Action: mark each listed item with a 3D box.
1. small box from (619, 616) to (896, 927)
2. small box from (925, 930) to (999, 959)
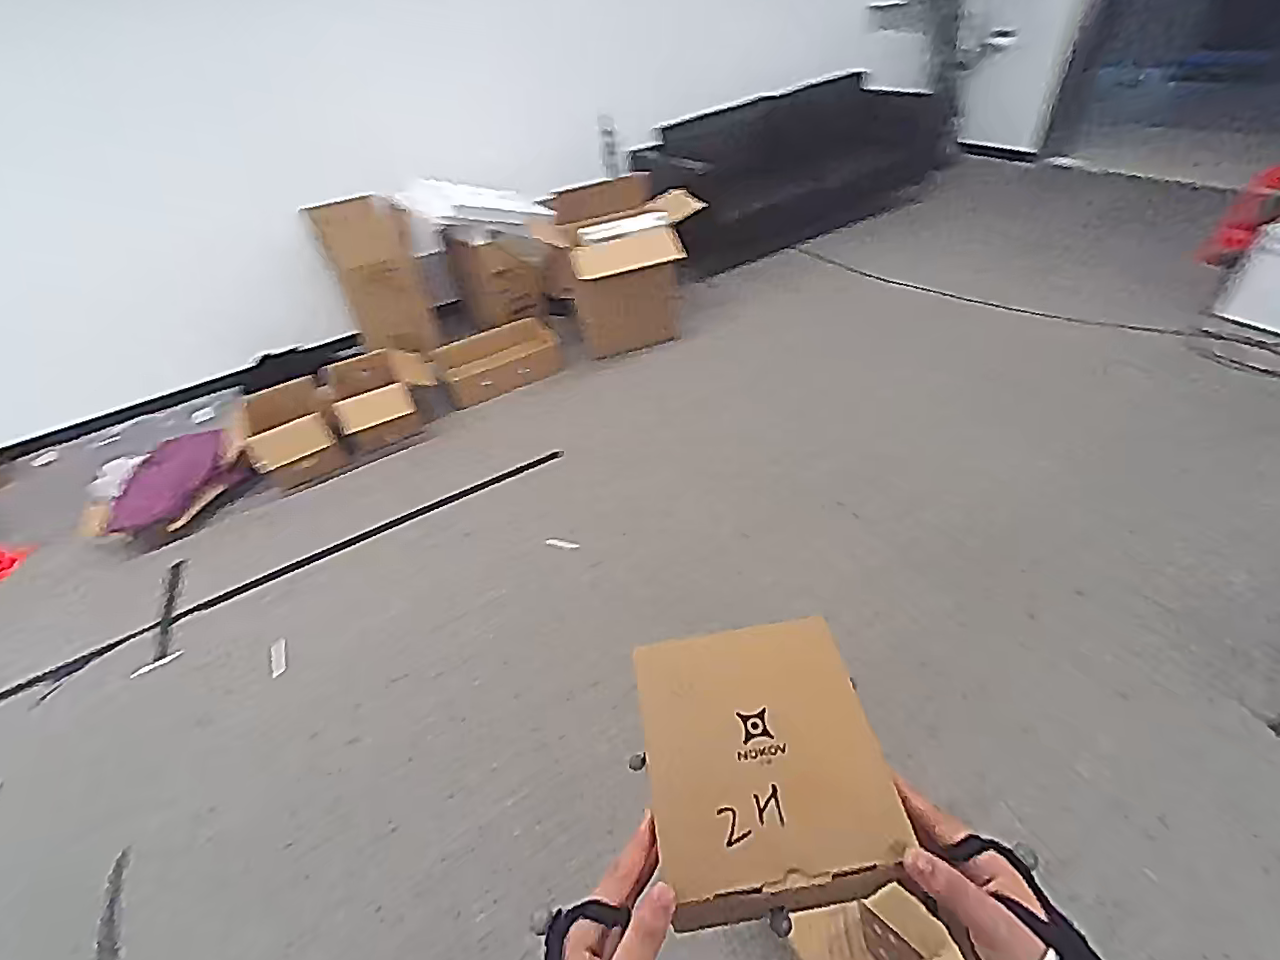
[{"bbox_3d":[0.078,0.244,0.456,0.168,0.176,0.179,-10,46,-2],"label":"small box"},{"bbox_3d":[0.541,0.903,0.902,0.179,0.176,0.168,-23,43,-14],"label":"small box"}]
